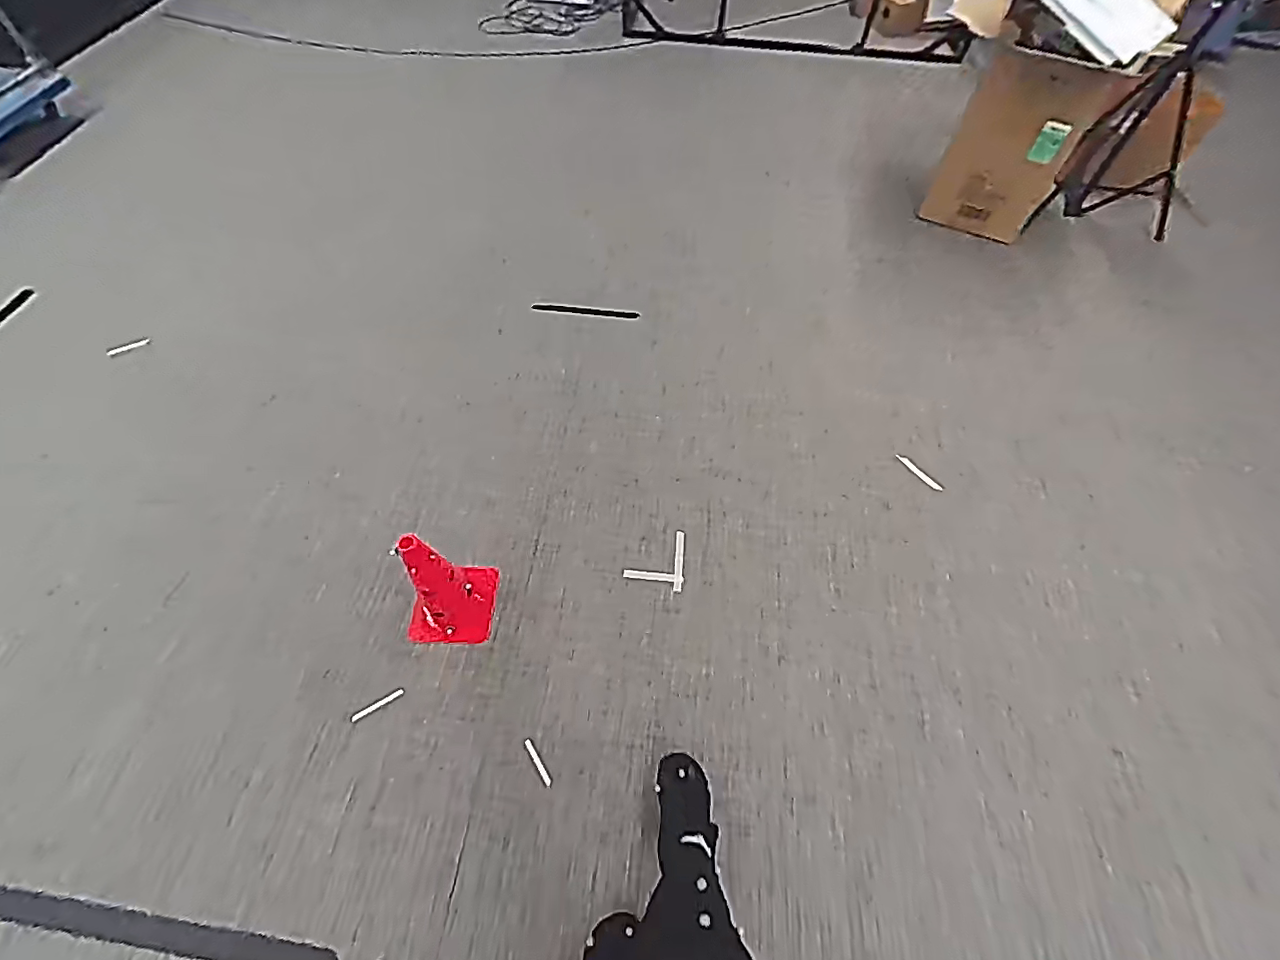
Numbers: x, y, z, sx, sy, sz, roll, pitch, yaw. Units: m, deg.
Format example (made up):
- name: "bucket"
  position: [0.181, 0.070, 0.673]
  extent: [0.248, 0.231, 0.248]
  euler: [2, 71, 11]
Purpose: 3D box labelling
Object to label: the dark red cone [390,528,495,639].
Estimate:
- name: "dark red cone"
  position: [-0.465, 0.208, 1.197]
  extent: [0.202, 0.394, 0.201]
  euler: [1, 58, -1]
